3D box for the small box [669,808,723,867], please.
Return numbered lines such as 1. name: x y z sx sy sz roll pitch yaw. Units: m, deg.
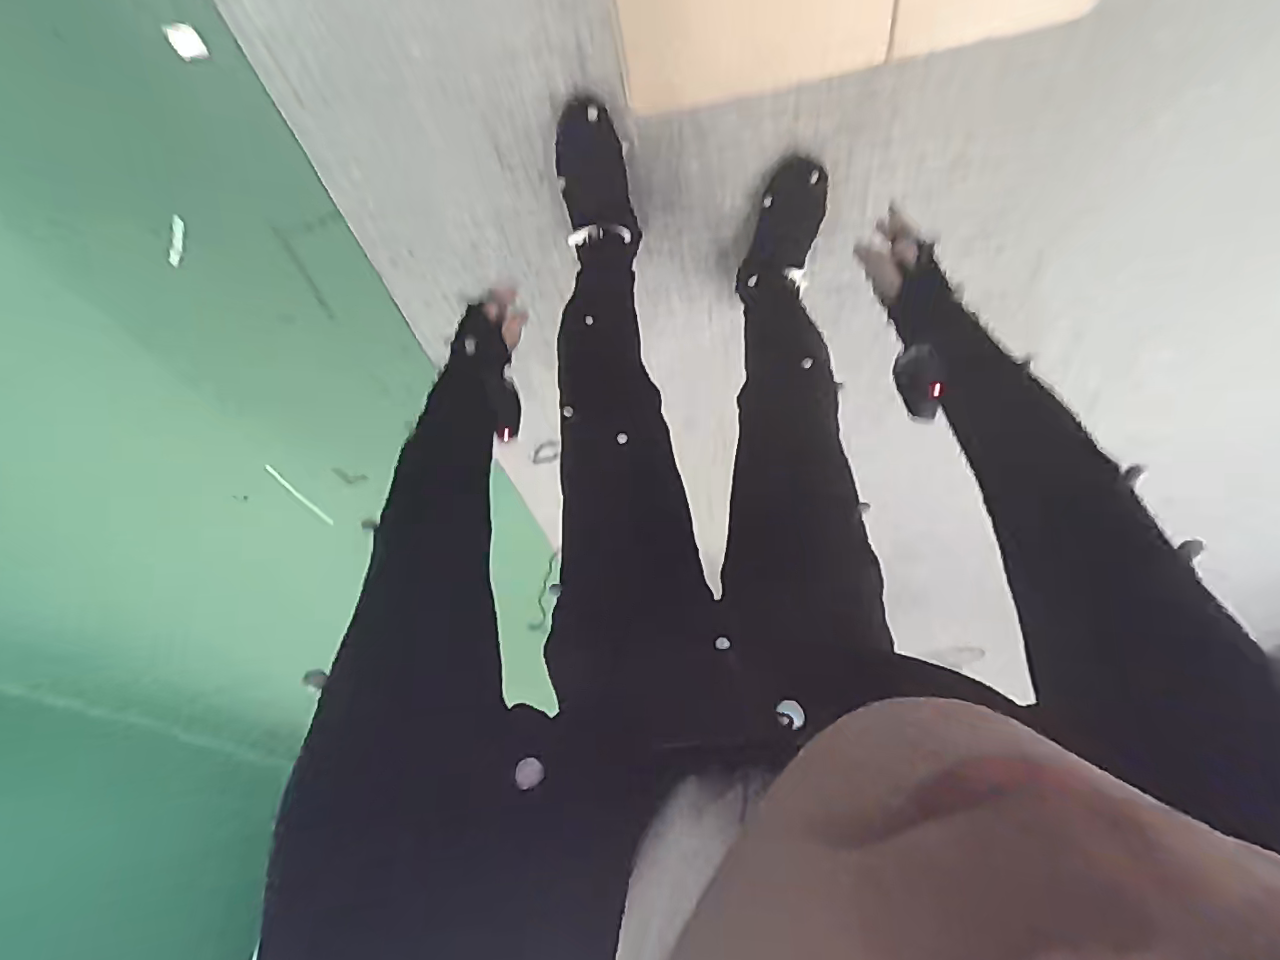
1. small box: 0.204 1.323 1.994 0.179 0.176 0.168 -9 141 10
